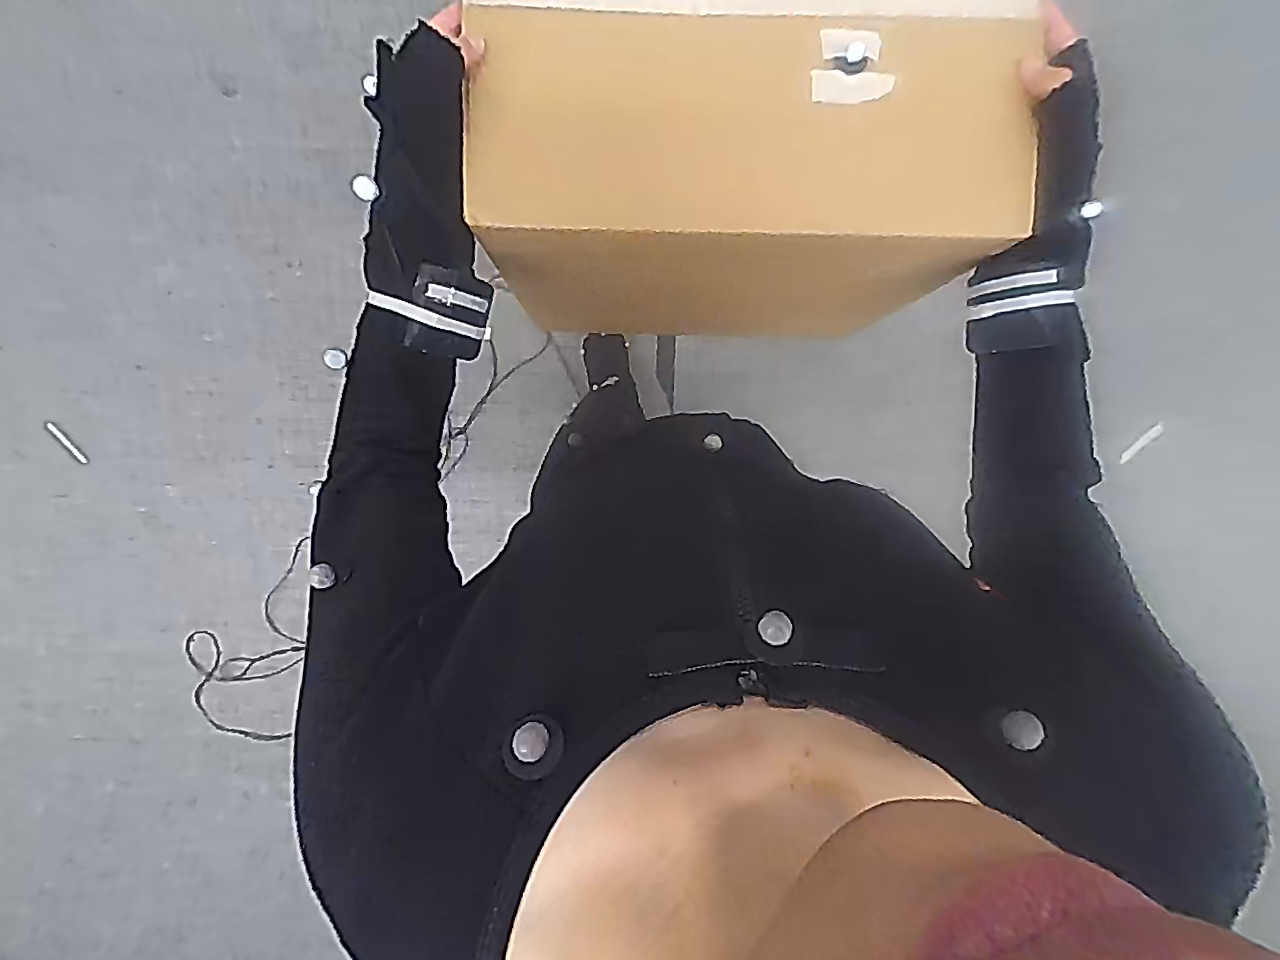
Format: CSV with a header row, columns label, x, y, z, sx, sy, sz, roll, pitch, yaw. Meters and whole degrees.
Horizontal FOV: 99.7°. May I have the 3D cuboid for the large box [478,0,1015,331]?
label,x,y,z,sx,sy,sz,roll,pitch,yaw
large box,0.074,-0.343,0.546,0.408,0.320,0.320,1,91,-2
